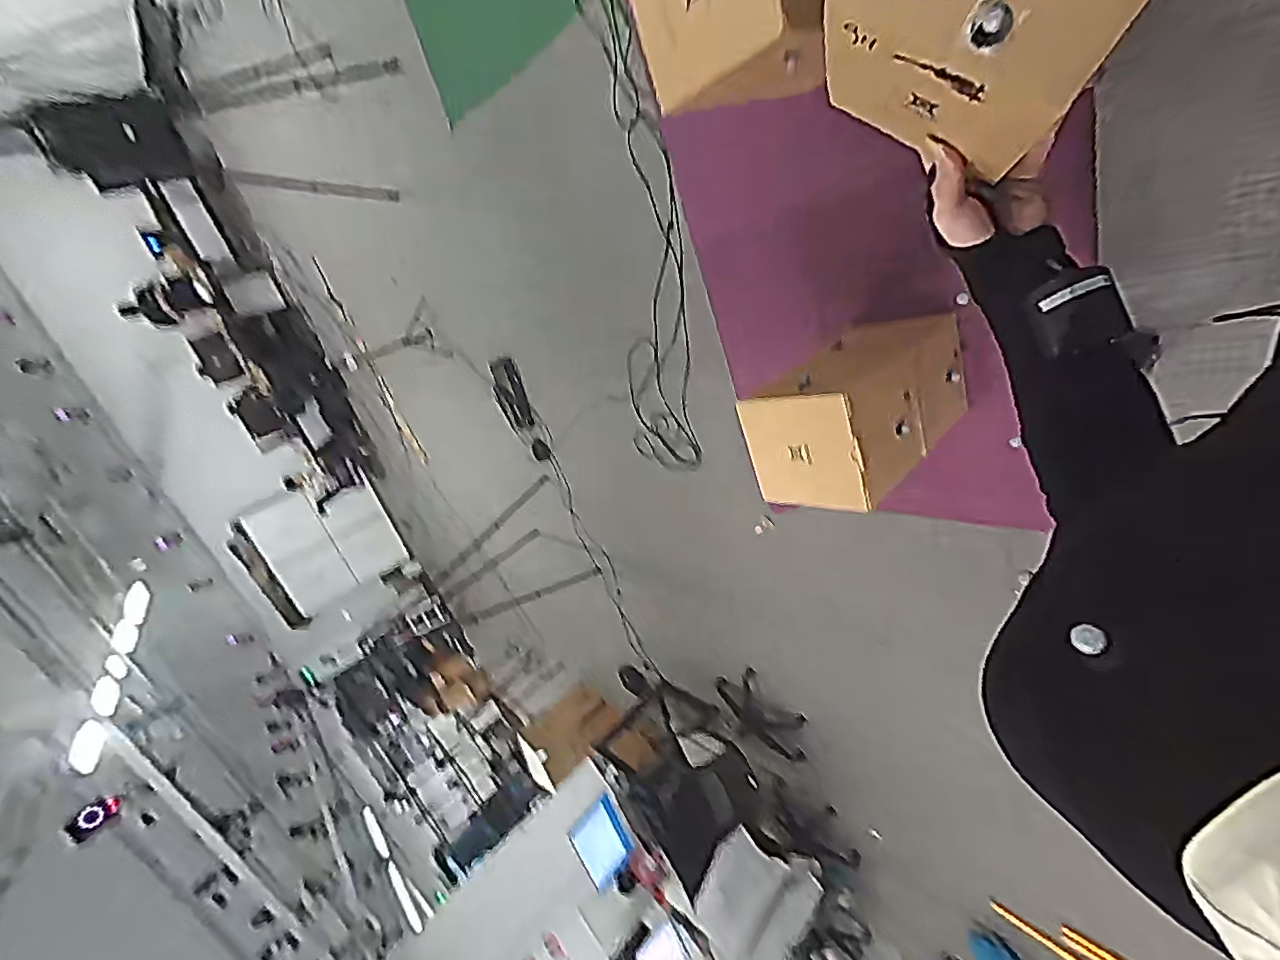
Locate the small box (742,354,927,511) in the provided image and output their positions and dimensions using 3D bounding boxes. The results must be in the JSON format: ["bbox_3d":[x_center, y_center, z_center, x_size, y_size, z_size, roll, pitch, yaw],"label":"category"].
[{"bbox_3d":[0.283,-0.071,0.786,0.179,0.176,0.168,3,119,51],"label":"small box"}]

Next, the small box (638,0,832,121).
[{"bbox_3d":[0.123,-0.536,0.602,0.179,0.176,0.168,6,122,51],"label":"small box"}]

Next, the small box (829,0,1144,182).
[{"bbox_3d":[0.256,-0.352,0.380,0.168,0.179,0.176,36,114,9],"label":"small box"}]

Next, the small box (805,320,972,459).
[{"bbox_3d":[0.401,-0.145,0.871,0.179,0.176,0.168,5,121,51],"label":"small box"}]
